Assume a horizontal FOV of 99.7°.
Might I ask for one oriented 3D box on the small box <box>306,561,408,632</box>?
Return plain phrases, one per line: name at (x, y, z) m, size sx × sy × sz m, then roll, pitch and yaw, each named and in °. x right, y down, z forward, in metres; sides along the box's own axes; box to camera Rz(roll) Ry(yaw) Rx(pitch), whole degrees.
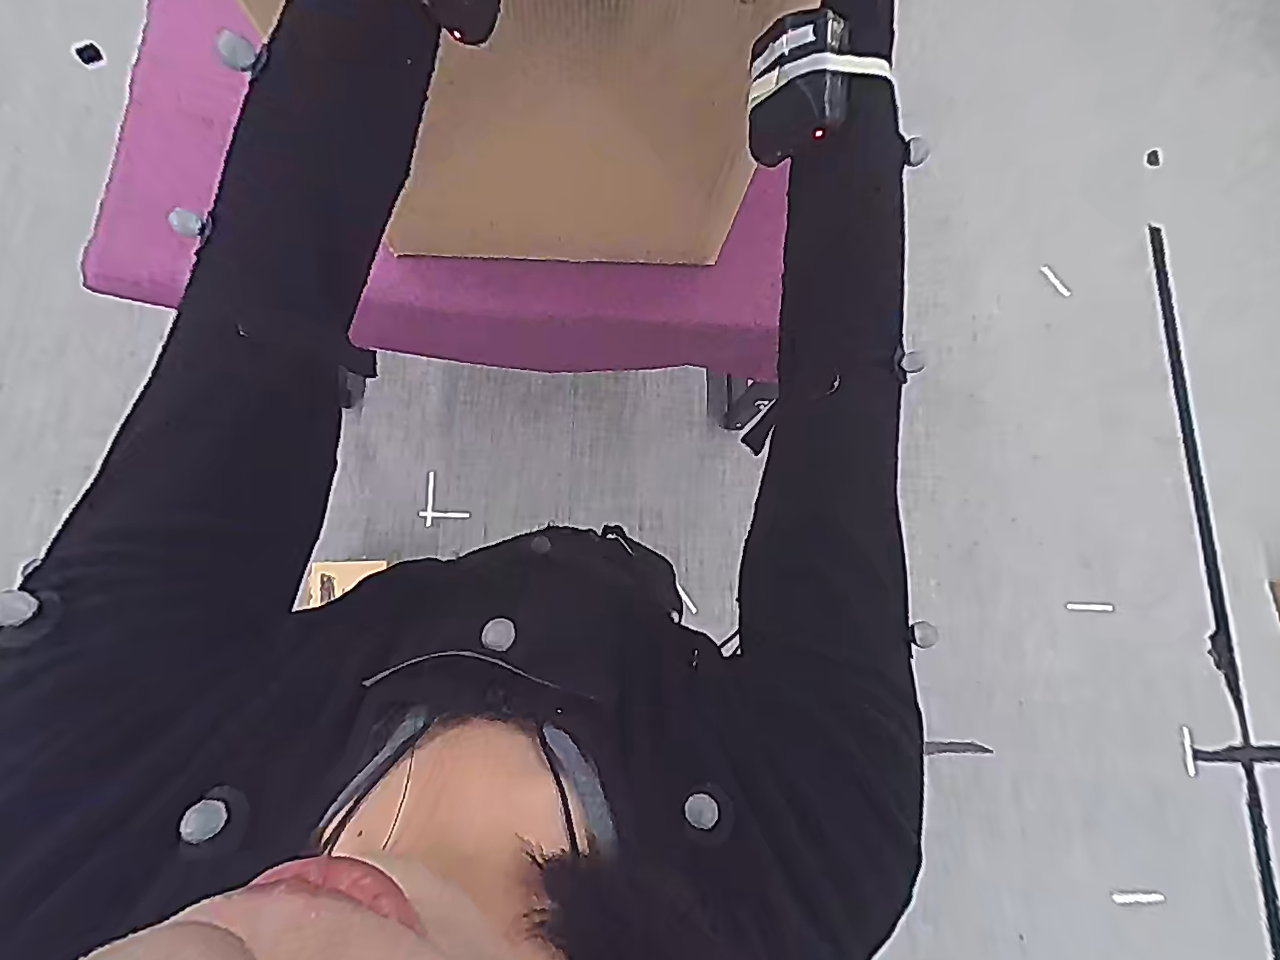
small box at (-0.704, 0.291, 1.362) m, size 0.179 × 0.176 × 0.168 m, roll 0°, pitch 80°, yaw -7°
